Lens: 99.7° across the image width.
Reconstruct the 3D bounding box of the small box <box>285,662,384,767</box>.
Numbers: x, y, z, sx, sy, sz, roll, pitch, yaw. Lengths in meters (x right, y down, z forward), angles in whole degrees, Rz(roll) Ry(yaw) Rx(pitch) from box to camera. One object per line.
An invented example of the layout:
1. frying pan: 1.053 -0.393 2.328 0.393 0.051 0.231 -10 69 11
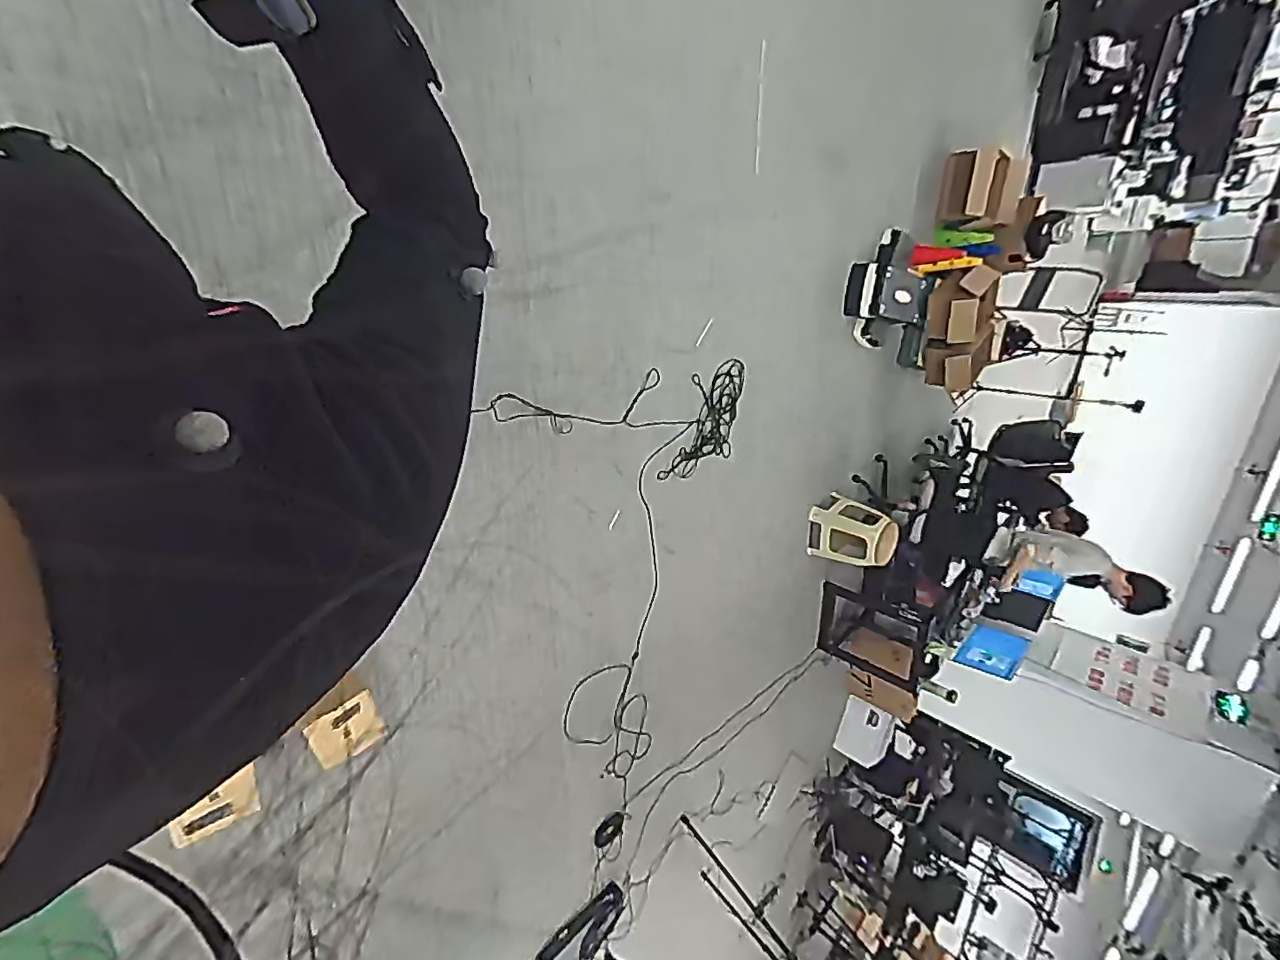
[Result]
1. small box: -0.834 0.626 1.474 0.168 0.176 0.179 -28 124 -37
